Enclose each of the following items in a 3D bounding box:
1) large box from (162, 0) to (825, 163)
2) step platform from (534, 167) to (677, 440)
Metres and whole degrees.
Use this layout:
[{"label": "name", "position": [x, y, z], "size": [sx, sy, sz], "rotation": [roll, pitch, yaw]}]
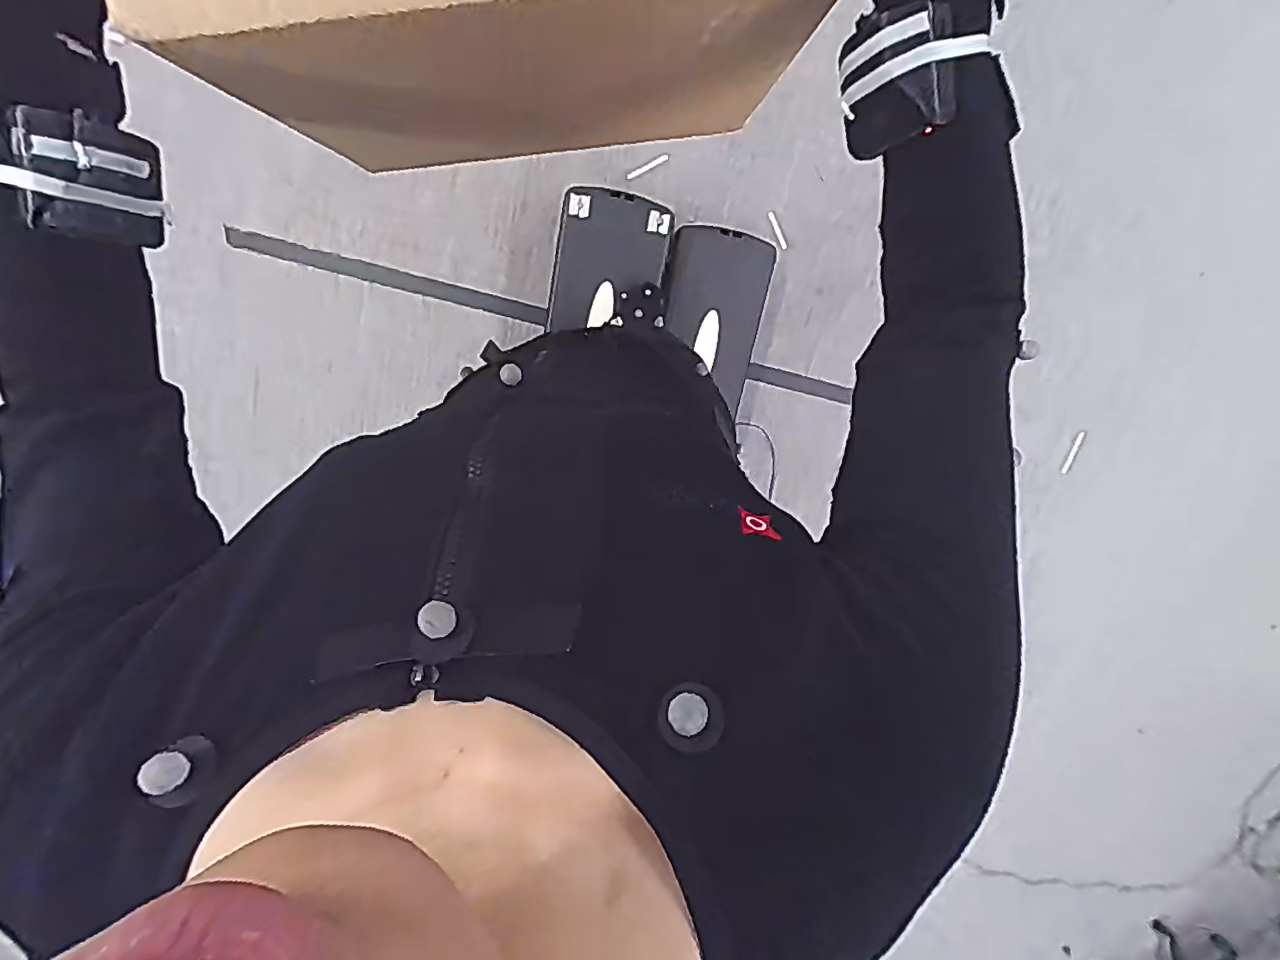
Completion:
[{"label": "large box", "position": [-0.092, -0.462, 0.395], "size": [0.408, 0.320, 0.320], "rotation": [-7, 109, -2]}, {"label": "step platform", "position": [-0.103, -0.451, 1.466], "size": [0.286, 0.204, 0.684], "rotation": [10, 105, -6]}]
